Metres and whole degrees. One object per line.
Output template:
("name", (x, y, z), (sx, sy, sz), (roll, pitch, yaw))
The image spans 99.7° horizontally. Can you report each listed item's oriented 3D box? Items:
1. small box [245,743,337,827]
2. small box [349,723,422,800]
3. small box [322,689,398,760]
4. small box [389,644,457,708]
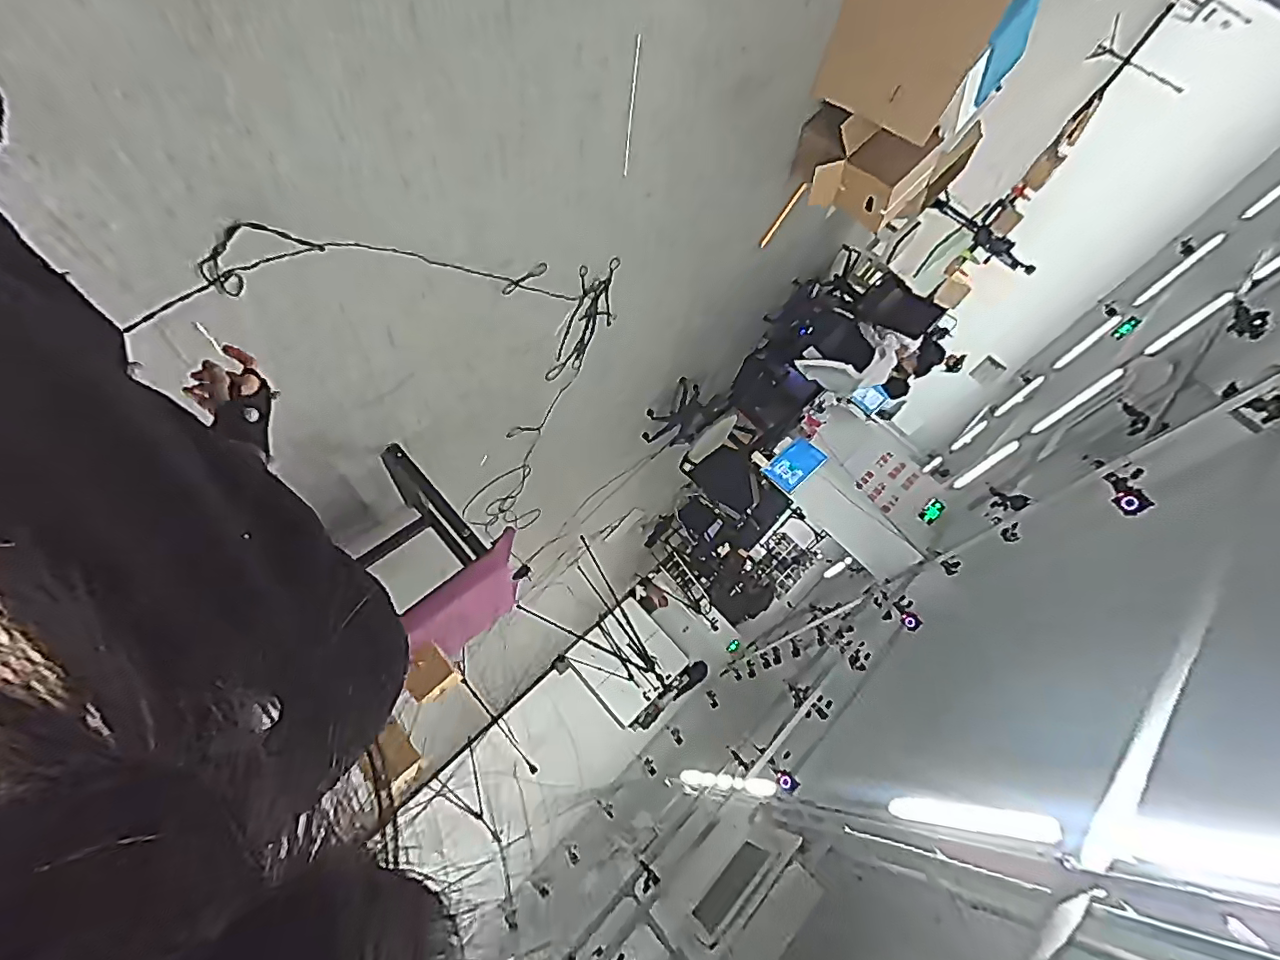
("small box", (-1.211, 1.044, 1.875), (0.179, 0.176, 0.168), (-44, 166, -6))
("small box", (-0.920, 1.016, 1.950), (0.179, 0.176, 0.168), (-37, 164, -30))
("small box", (-1.032, 0.906, 2.000), (0.179, 0.176, 0.168), (-37, 163, -30))
("small box", (-0.850, 0.768, 2.123), (0.168, 0.176, 0.179), (-40, 164, -23))
